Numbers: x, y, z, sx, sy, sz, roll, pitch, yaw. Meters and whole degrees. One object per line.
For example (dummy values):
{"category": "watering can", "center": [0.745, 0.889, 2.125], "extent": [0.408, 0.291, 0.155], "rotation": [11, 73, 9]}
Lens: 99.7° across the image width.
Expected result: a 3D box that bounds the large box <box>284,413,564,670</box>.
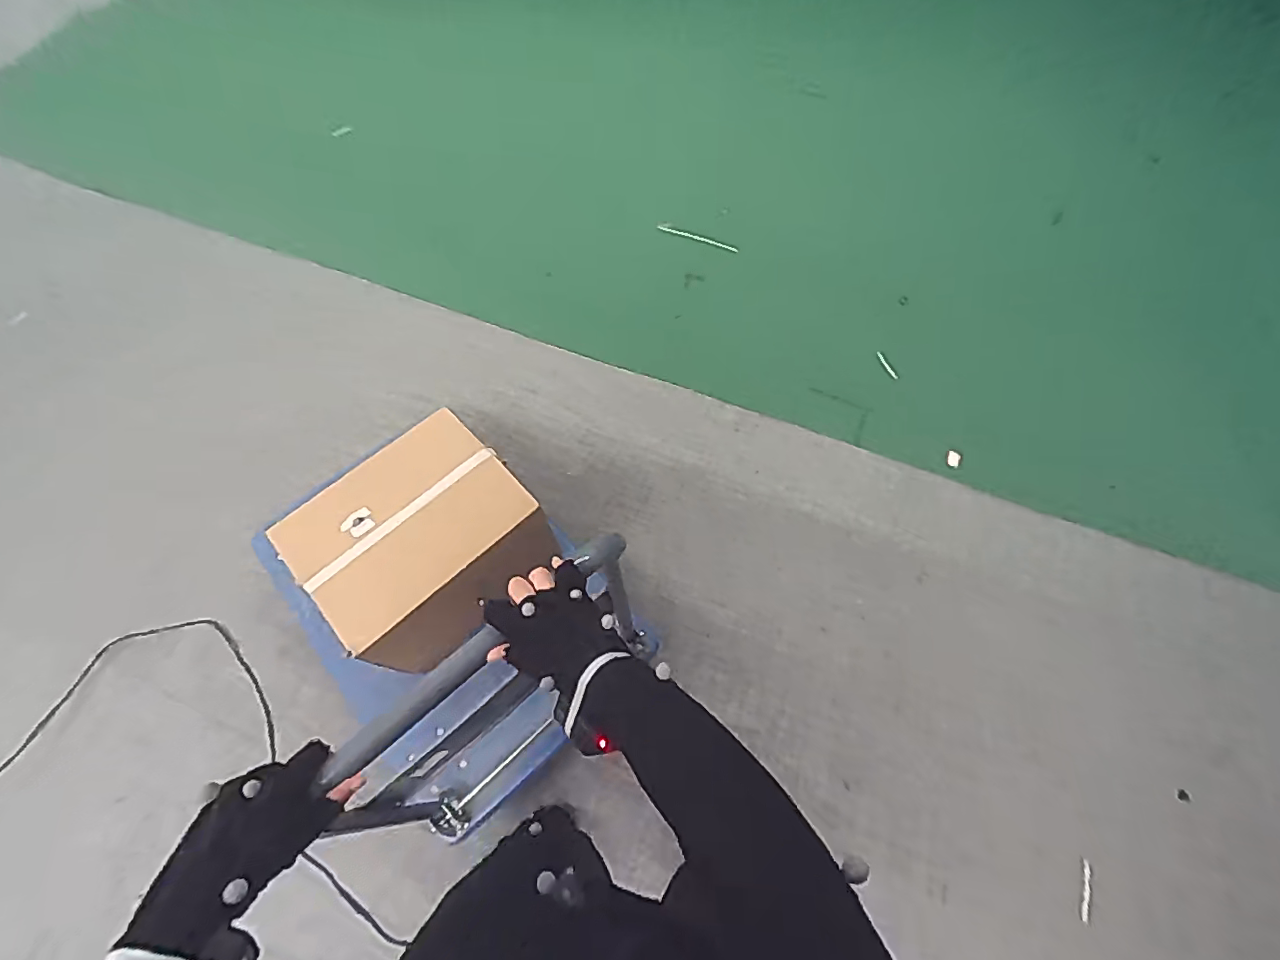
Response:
{"category": "large box", "center": [-0.426, 0.142, 1.164], "extent": [0.408, 0.320, 0.320], "rotation": [-41, 70, -16]}
